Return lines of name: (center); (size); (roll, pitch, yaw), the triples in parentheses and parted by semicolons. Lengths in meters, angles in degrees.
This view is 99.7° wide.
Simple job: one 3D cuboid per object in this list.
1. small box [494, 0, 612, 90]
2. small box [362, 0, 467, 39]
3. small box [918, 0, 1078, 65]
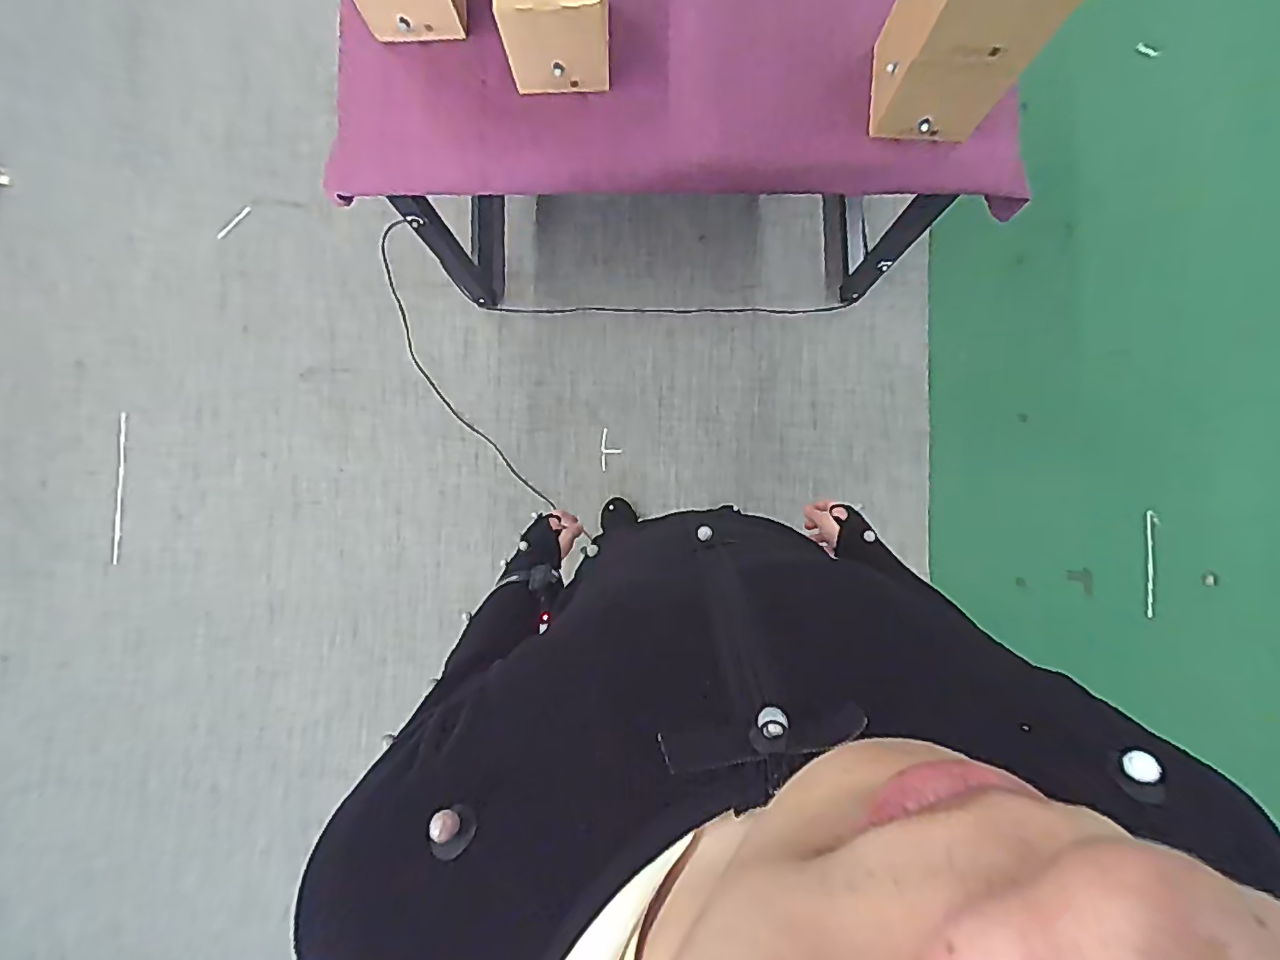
small box: (-0.137, -0.794, 0.896); (0.168, 0.176, 0.179); (0, 87, 2)
small box: (-0.399, -0.895, 0.908); (0.168, 0.176, 0.179); (-2, 88, 2)
small box: (0.486, -0.698, 0.709); (0.168, 0.176, 0.179); (5, 86, 3)
